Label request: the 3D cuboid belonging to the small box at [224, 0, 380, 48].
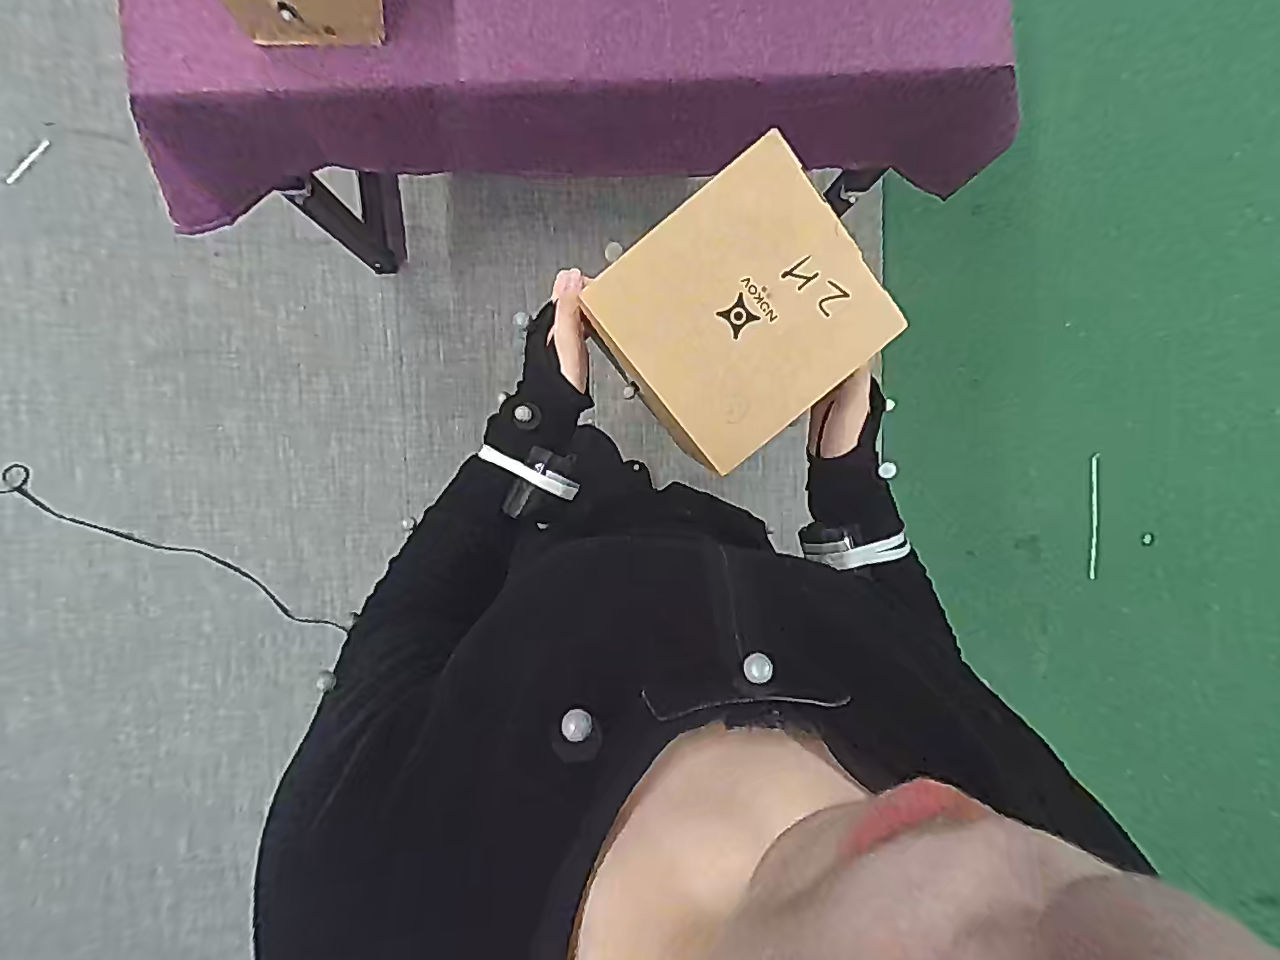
[{"bbox_3d":[-0.419,-0.650,0.622,0.168,0.176,0.179,-4,93,-5],"label":"small box"}]
